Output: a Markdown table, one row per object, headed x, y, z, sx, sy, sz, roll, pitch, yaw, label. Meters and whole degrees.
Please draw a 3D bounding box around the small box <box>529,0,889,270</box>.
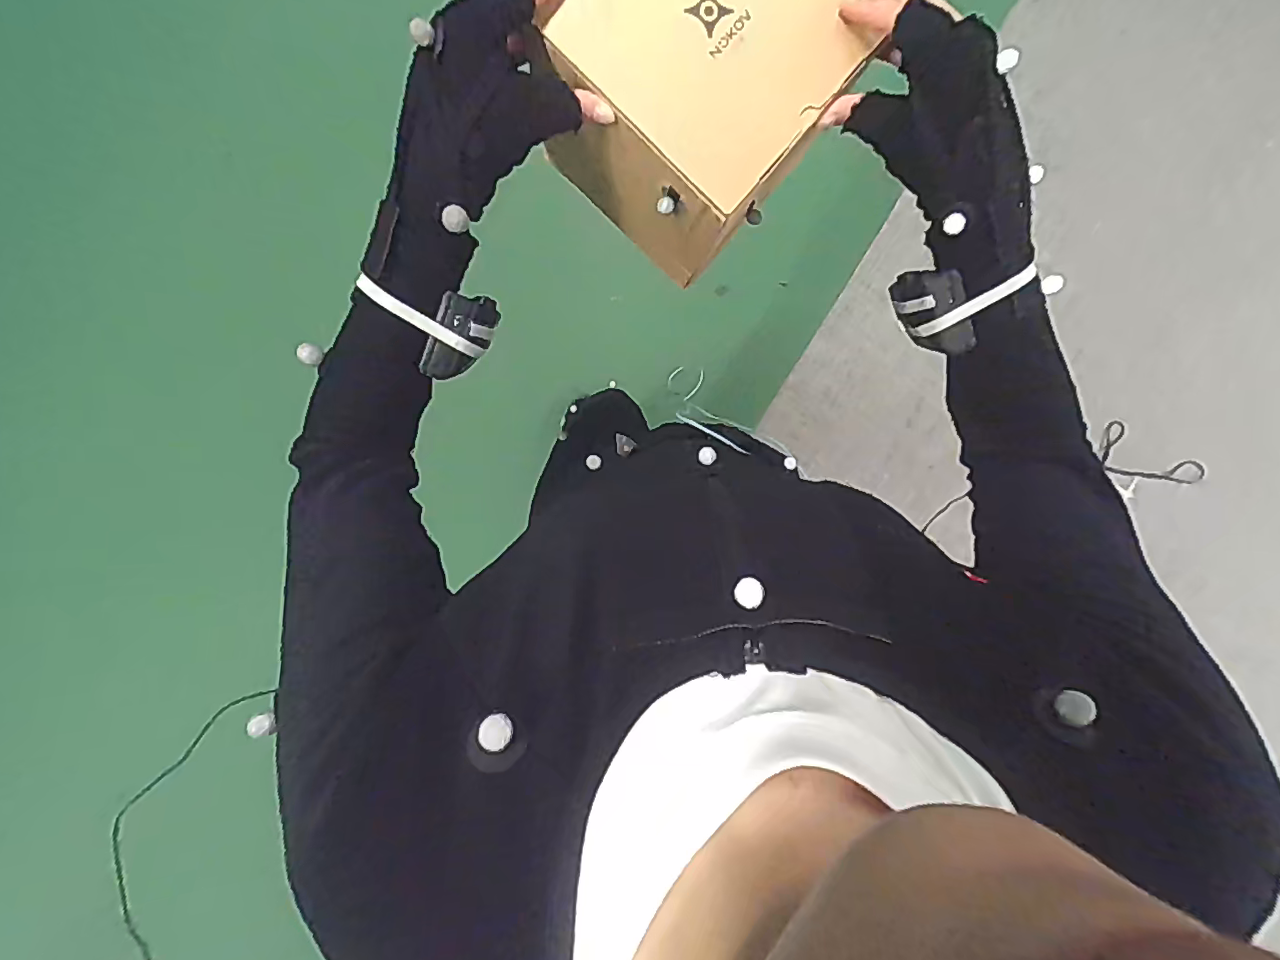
| x | y | z | sx | sy | sz | roll | pitch | yaw | label |
| --- | --- | --- | --- | --- | --- | --- | --- | --- | --- |
| 0.039 | -0.297 | 0.420 | 0.179 | 0.176 | 0.168 | 41 | 90 | -8 | small box |
